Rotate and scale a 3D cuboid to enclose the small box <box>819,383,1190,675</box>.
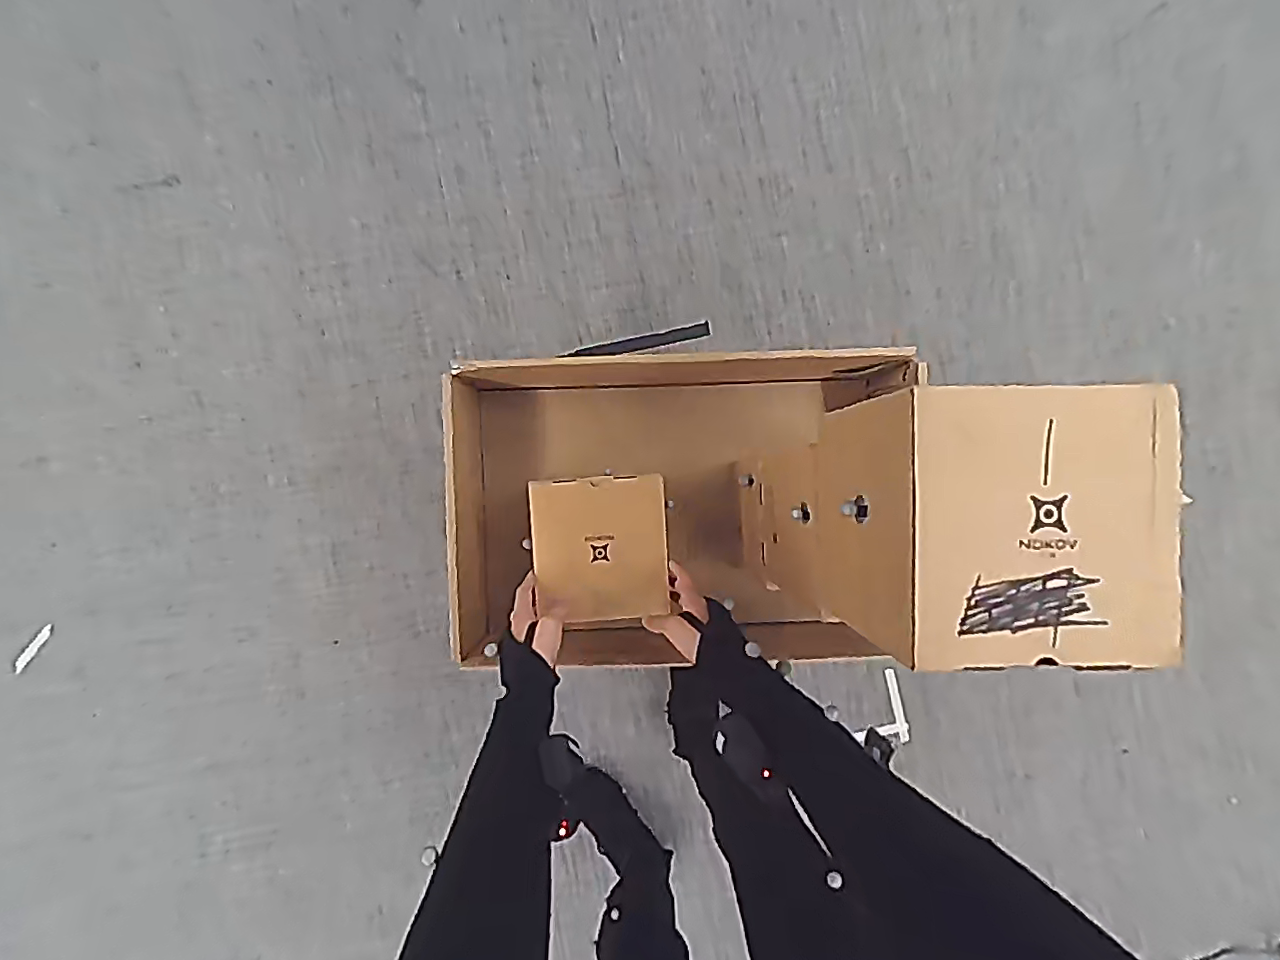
[{"bbox_3d":[0.241,0.028,0.401,0.168,0.176,0.179,0,90,-1],"label":"small box"}]

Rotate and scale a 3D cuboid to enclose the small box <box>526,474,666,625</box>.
[{"bbox_3d":[-0.053,0.083,0.731,0.168,0.176,0.179,-4,90,-2],"label":"small box"}]

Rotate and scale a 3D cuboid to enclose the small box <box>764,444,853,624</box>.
[{"bbox_3d":[0.241,0.042,0.567,0.179,0.176,0.168,-4,91,-1],"label":"small box"}]
